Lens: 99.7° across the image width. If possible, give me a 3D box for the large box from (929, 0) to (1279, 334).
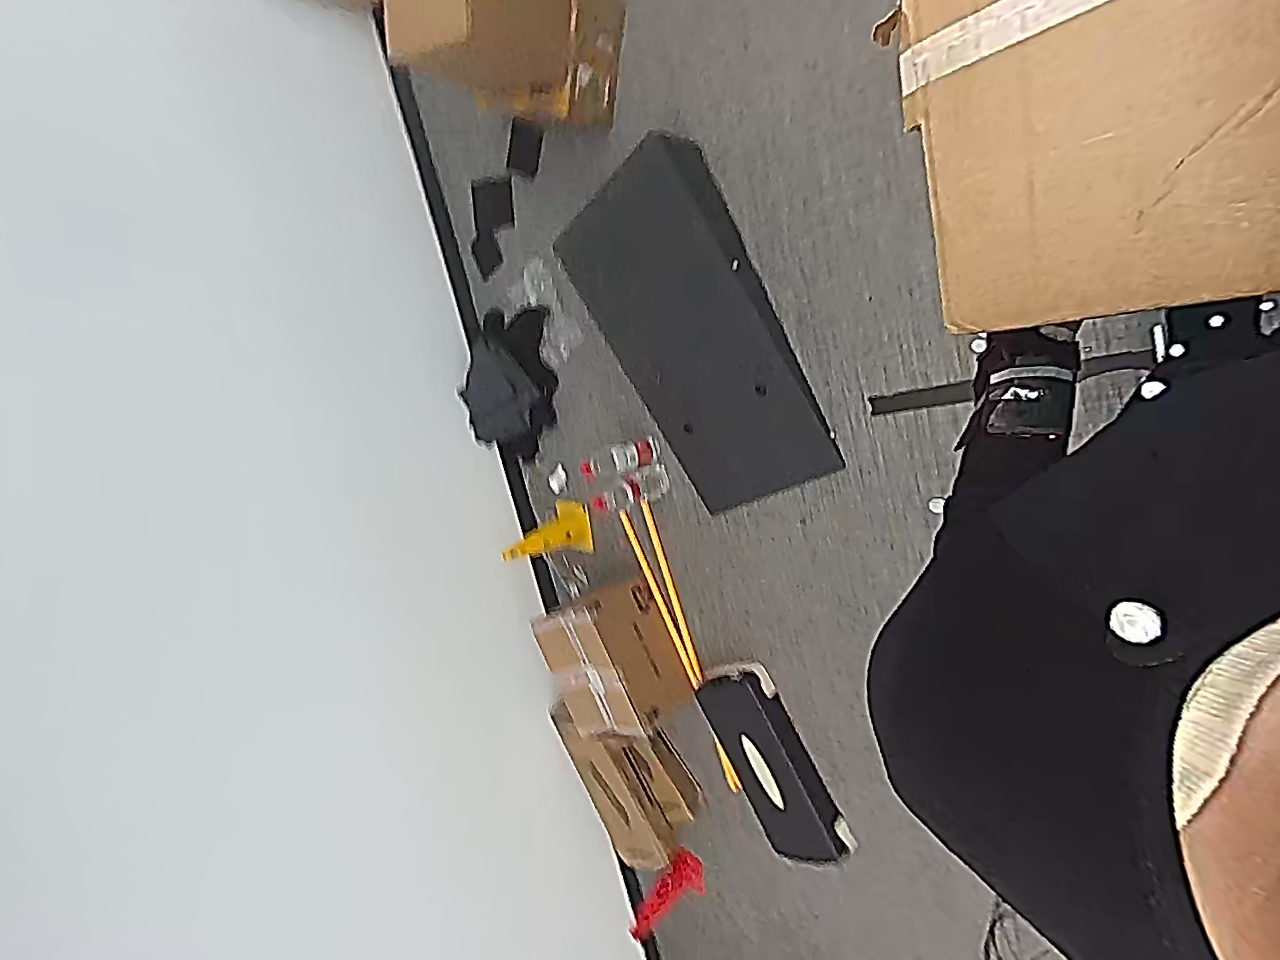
[{"bbox_3d":[0.402,-0.289,0.258,0.408,0.320,0.320,3,118,45],"label":"large box"}]
